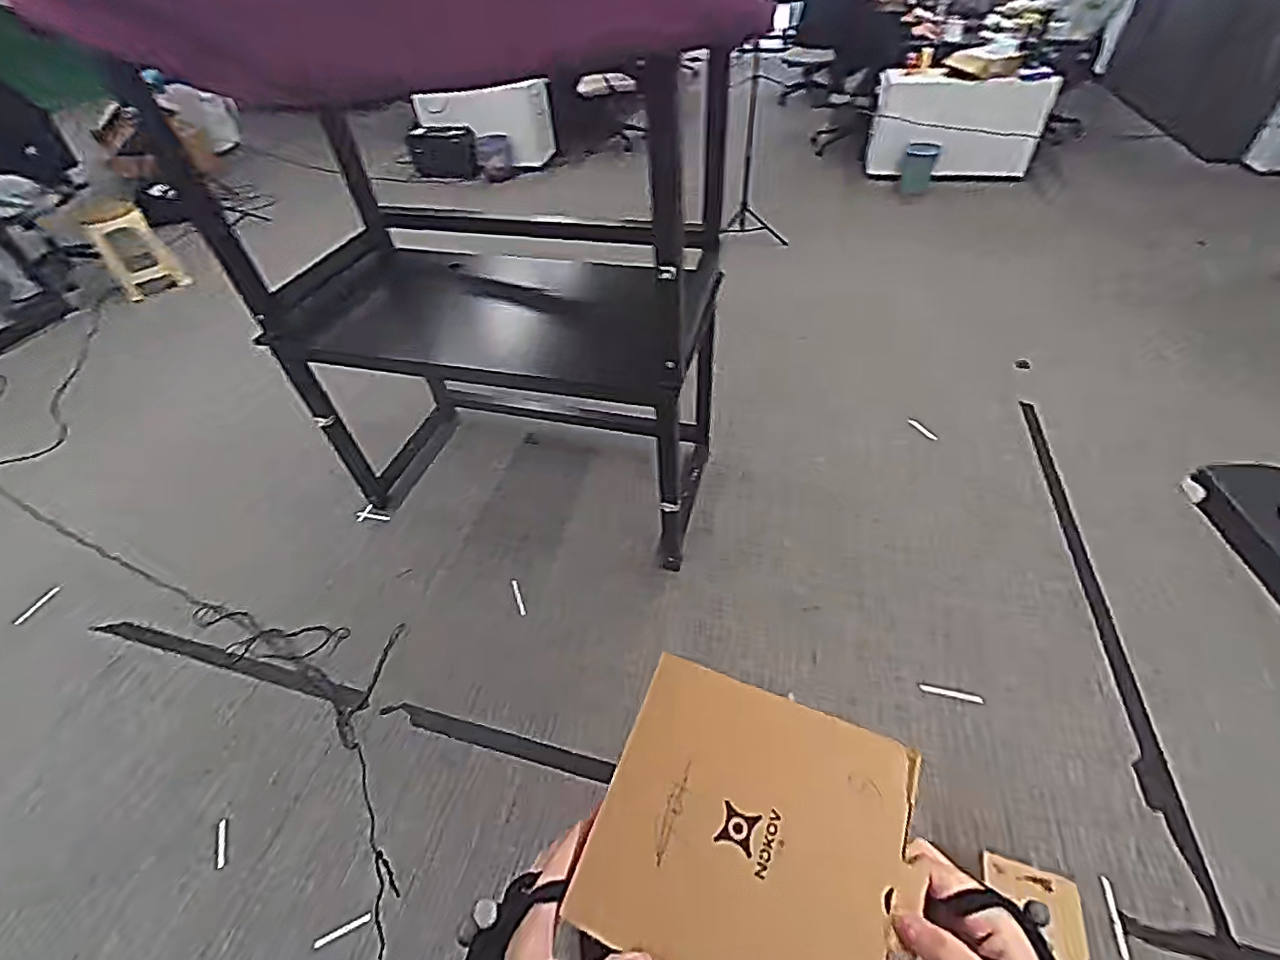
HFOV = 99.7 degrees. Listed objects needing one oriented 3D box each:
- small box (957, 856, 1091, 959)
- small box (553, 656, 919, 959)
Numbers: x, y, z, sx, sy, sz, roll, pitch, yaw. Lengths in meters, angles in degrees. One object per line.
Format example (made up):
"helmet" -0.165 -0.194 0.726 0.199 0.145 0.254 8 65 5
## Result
"small box" 0.733 0.872 1.047 0.168 0.176 0.179 13 50 16
"small box" 0.071 0.253 0.382 0.179 0.176 0.168 15 59 21
